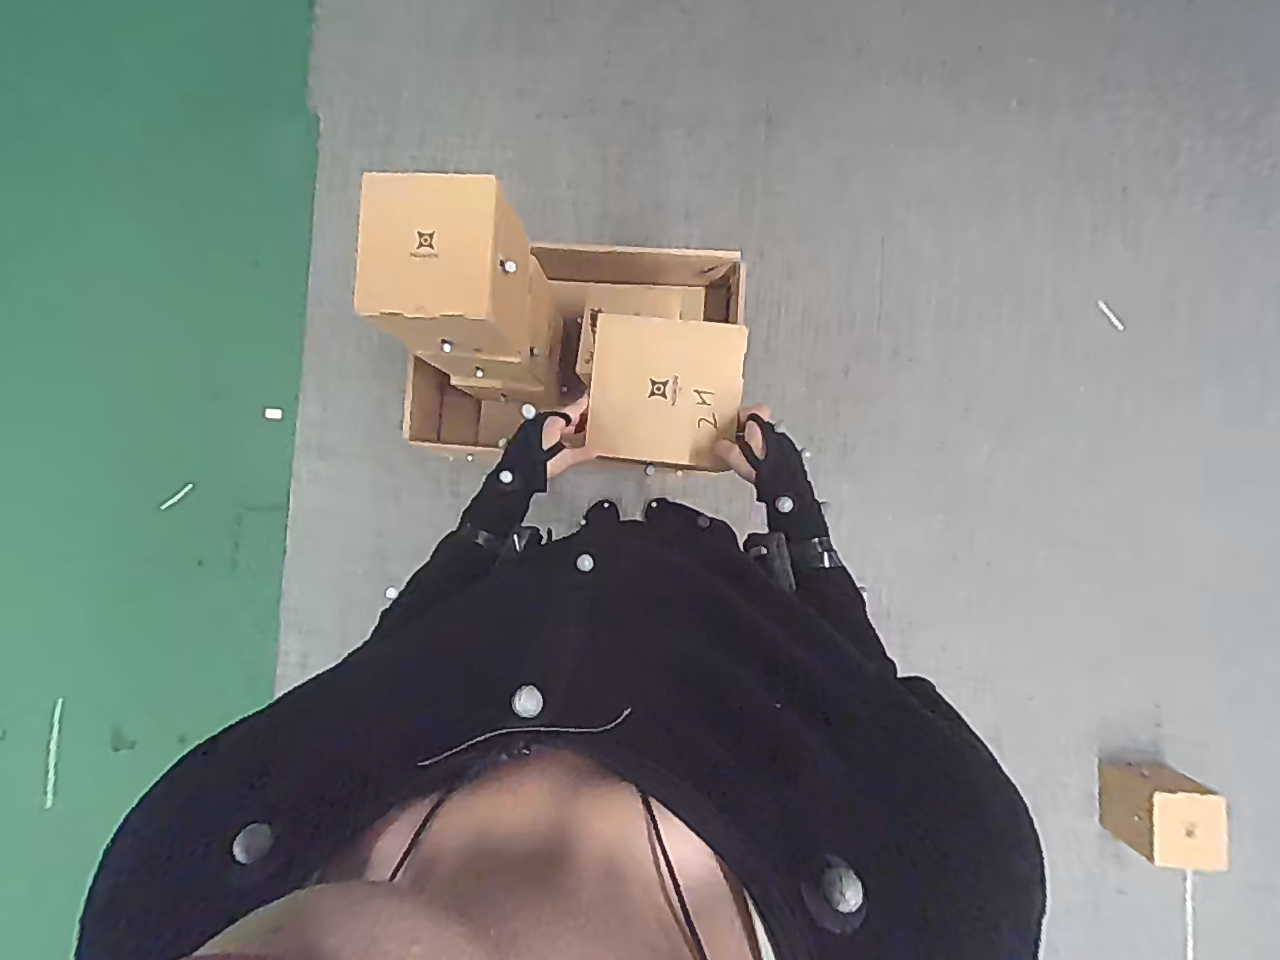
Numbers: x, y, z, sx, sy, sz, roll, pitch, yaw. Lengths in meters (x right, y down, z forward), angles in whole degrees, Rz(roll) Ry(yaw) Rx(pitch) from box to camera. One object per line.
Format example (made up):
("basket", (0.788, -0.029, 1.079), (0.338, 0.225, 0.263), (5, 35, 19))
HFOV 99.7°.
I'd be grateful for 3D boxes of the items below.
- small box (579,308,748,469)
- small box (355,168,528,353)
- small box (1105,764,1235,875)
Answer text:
("small box", (0.030, -0.104, 0.688), (0.179, 0.176, 0.168), (7, 90, 2))
("small box", (-0.251, -0.281, 0.722), (0.168, 0.176, 0.179), (2, 89, 3))
("small box", (1.303, 0.831, 1.340), (0.168, 0.176, 0.179), (2, 88, 4))
